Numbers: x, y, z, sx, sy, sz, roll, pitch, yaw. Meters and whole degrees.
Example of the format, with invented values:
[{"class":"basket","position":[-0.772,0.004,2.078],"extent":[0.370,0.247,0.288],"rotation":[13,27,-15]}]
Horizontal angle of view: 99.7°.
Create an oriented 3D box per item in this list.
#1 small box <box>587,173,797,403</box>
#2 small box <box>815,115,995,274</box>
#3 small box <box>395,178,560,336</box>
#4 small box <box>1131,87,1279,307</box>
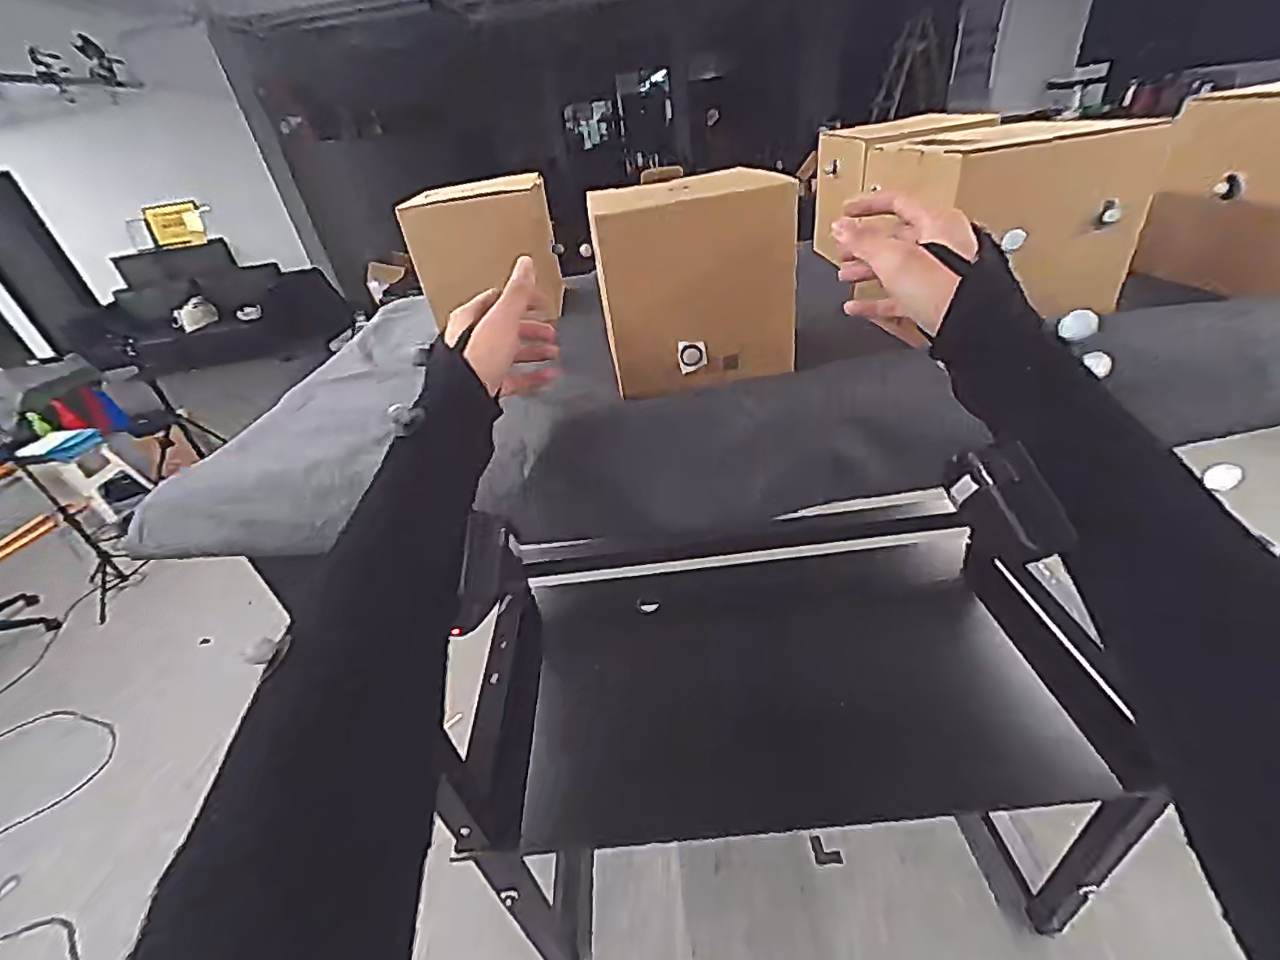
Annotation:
[{"class":"small box","position":[0.043,-0.192,0.531],"extent":[0.168,0.176,0.179],"rotation":[-10,33,-1]},{"class":"small box","position":[0.357,-0.402,0.767],"extent":[0.168,0.176,0.179],"rotation":[-8,34,1]},{"class":"small box","position":[-0.214,-0.320,0.775],"extent":[0.179,0.176,0.168],"rotation":[-8,34,0]},{"class":"small box","position":[0.635,-0.271,0.509],"extent":[0.168,0.176,0.179],"rotation":[-9,33,0]}]
